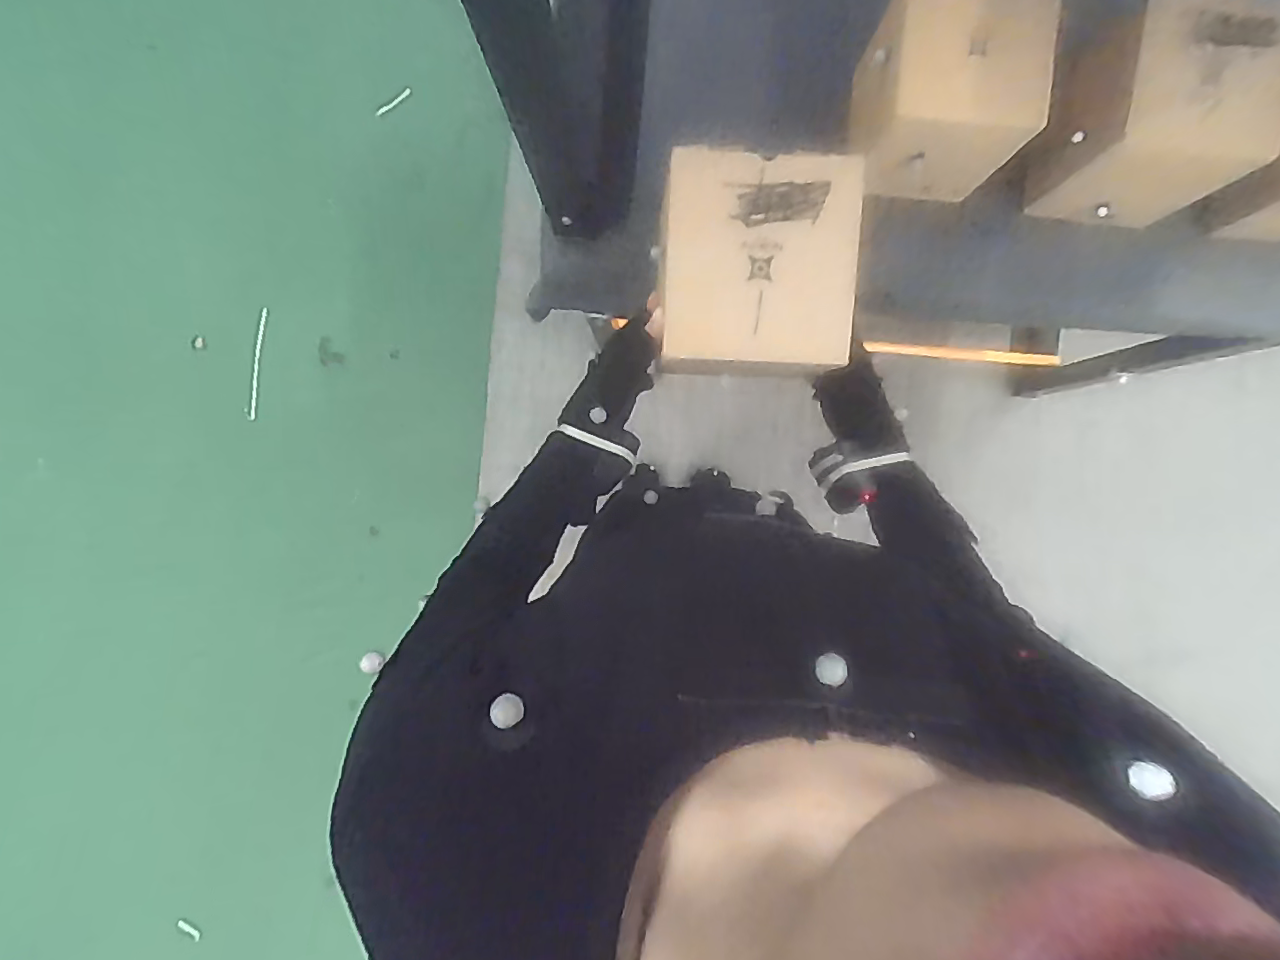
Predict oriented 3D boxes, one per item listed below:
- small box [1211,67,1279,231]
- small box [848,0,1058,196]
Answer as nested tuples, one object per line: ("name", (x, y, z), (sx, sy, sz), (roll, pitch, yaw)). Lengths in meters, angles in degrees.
("small box", (0.860, -0.418, 0.656), (0.168, 0.176, 0.179), (5, 89, 1))
("small box", (0.372, -0.482, 0.672), (0.168, 0.176, 0.179), (6, 90, 2))
